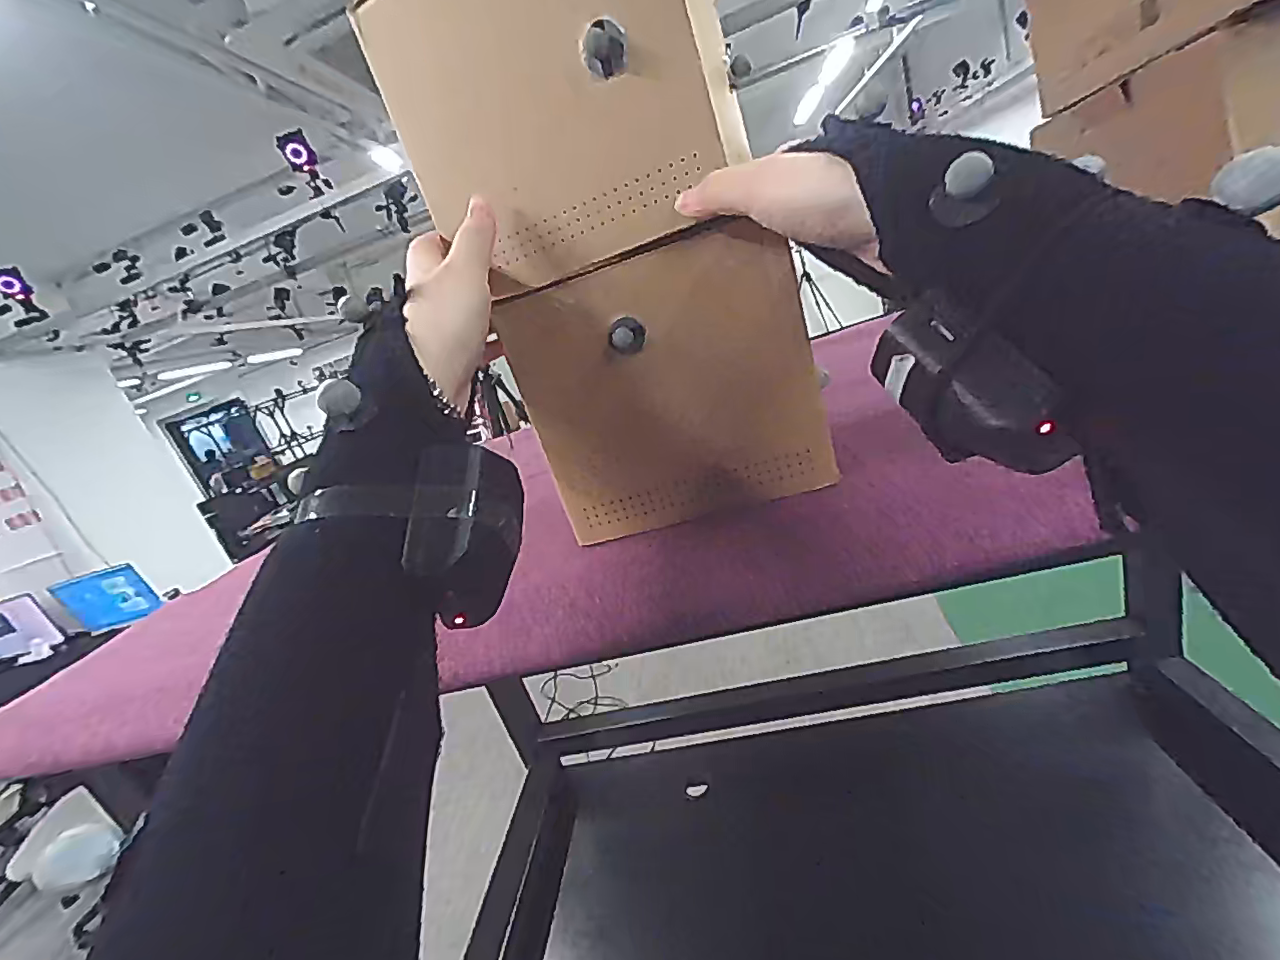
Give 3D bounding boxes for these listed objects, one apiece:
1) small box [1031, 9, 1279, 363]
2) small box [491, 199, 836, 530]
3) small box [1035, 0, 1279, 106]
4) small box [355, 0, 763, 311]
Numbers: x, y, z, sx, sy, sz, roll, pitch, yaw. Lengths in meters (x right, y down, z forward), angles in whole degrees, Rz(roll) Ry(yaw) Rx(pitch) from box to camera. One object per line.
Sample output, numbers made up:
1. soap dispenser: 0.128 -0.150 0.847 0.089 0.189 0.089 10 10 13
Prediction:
1. small box: 0.386 -0.181 0.328 0.179 0.176 0.168 -17 16 13
2. small box: 0.027 -0.079 0.398 0.179 0.176 0.168 -14 19 13
3. small box: 0.332 -0.325 0.273 0.179 0.176 0.168 -16 16 12
4. small box: -0.028 -0.224 0.349 0.179 0.176 0.168 -12 18 23
